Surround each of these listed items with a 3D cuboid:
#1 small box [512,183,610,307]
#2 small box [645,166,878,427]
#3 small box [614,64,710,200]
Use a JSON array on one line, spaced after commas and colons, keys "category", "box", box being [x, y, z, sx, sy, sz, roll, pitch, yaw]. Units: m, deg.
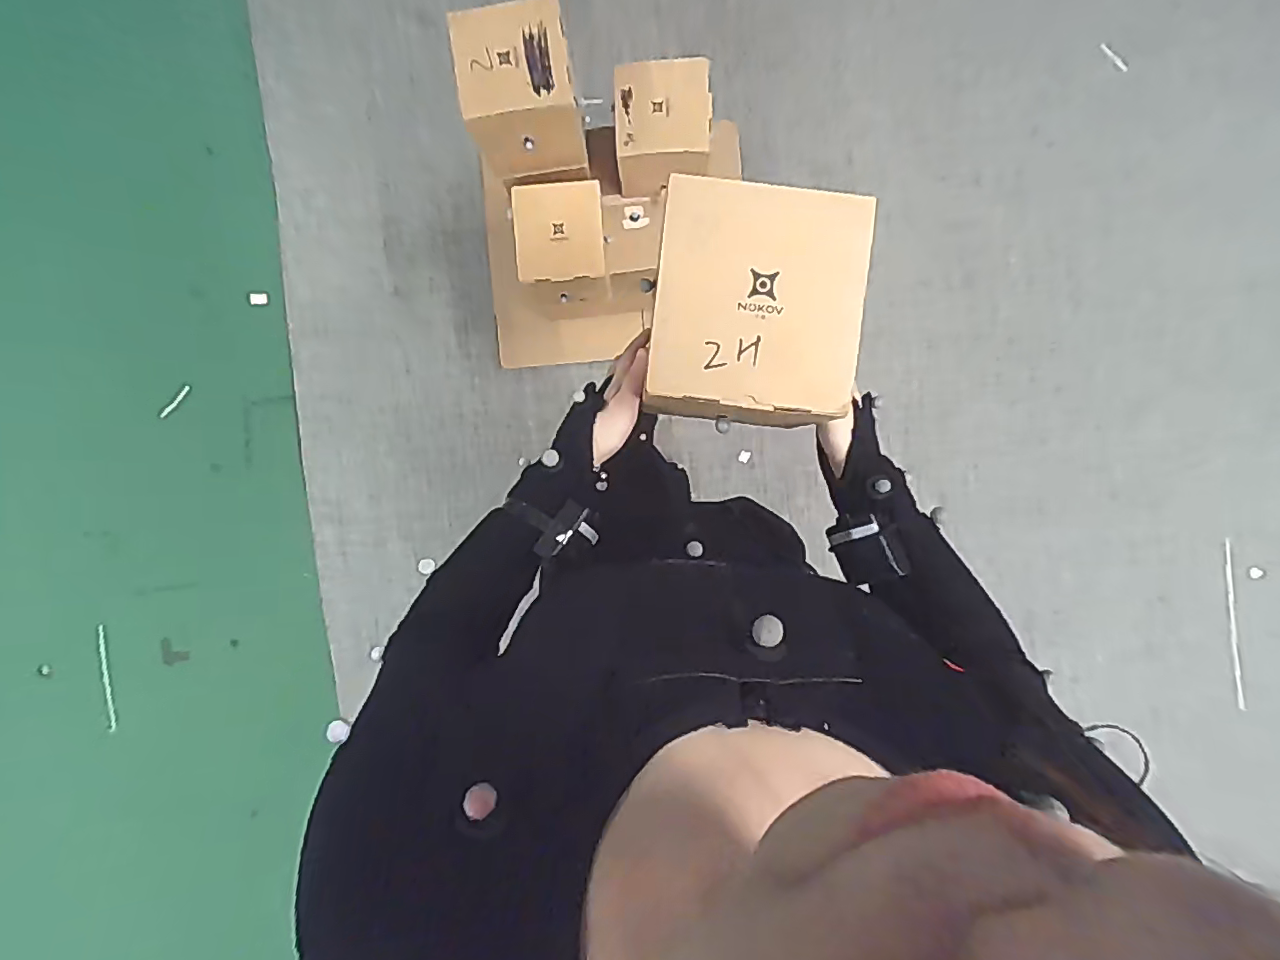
[{"category": "small box", "box": [-0.150, -0.458, 1.076, 0.168, 0.176, 0.179, -5, 94, 0]}, {"category": "small box", "box": [0.095, -0.151, 0.503, 0.168, 0.176, 0.179, 7, 91, 0]}, {"category": "small box", "box": [0.042, -0.672, 1.063, 0.179, 0.176, 0.168, -1, 93, 3]}]
